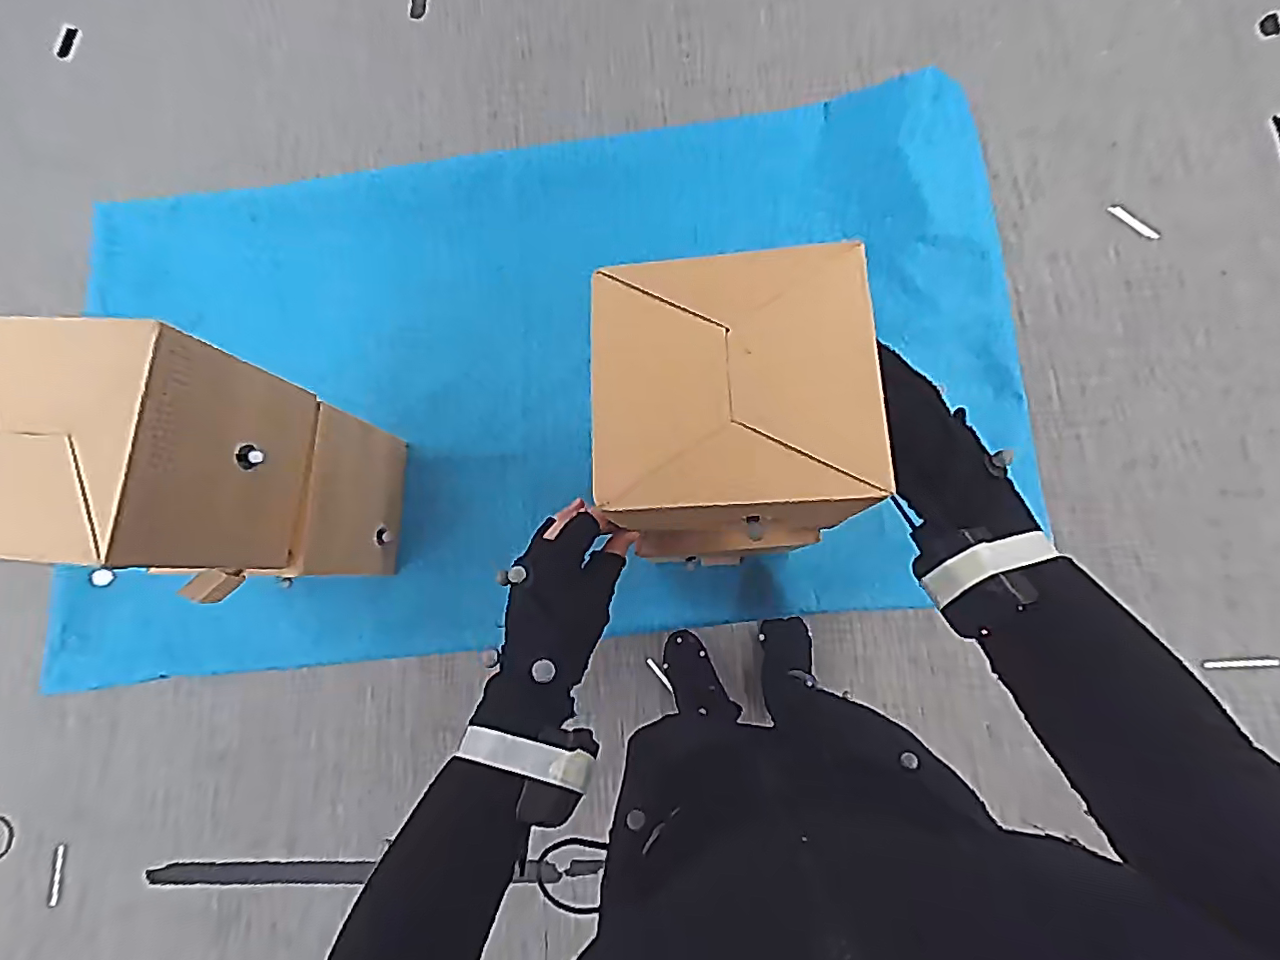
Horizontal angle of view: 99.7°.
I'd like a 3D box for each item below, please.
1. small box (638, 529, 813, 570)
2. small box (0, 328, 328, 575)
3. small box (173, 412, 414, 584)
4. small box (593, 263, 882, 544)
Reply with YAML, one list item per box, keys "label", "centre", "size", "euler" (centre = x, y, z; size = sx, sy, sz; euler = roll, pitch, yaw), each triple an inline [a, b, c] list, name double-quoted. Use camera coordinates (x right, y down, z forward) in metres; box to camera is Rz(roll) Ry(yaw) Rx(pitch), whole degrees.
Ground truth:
- label: "small box"
  centre: [0.083, -0.002, 0.577]
  size: [0.168, 0.176, 0.179]
  euler: [-6, 78, 5]
- label: "small box"
  centre: [-0.410, -0.012, 0.463]
  size: [0.168, 0.176, 0.179]
  euler: [3, 81, 6]
- label: "small box"
  centre: [-0.385, 0.029, 0.621]
  size: [0.168, 0.176, 0.179]
  euler: [-1, 80, 6]
- label: "small box"
  centre: [0.070, -0.043, 0.418]
  size: [0.179, 0.176, 0.168]
  euler: [-4, 77, 7]
